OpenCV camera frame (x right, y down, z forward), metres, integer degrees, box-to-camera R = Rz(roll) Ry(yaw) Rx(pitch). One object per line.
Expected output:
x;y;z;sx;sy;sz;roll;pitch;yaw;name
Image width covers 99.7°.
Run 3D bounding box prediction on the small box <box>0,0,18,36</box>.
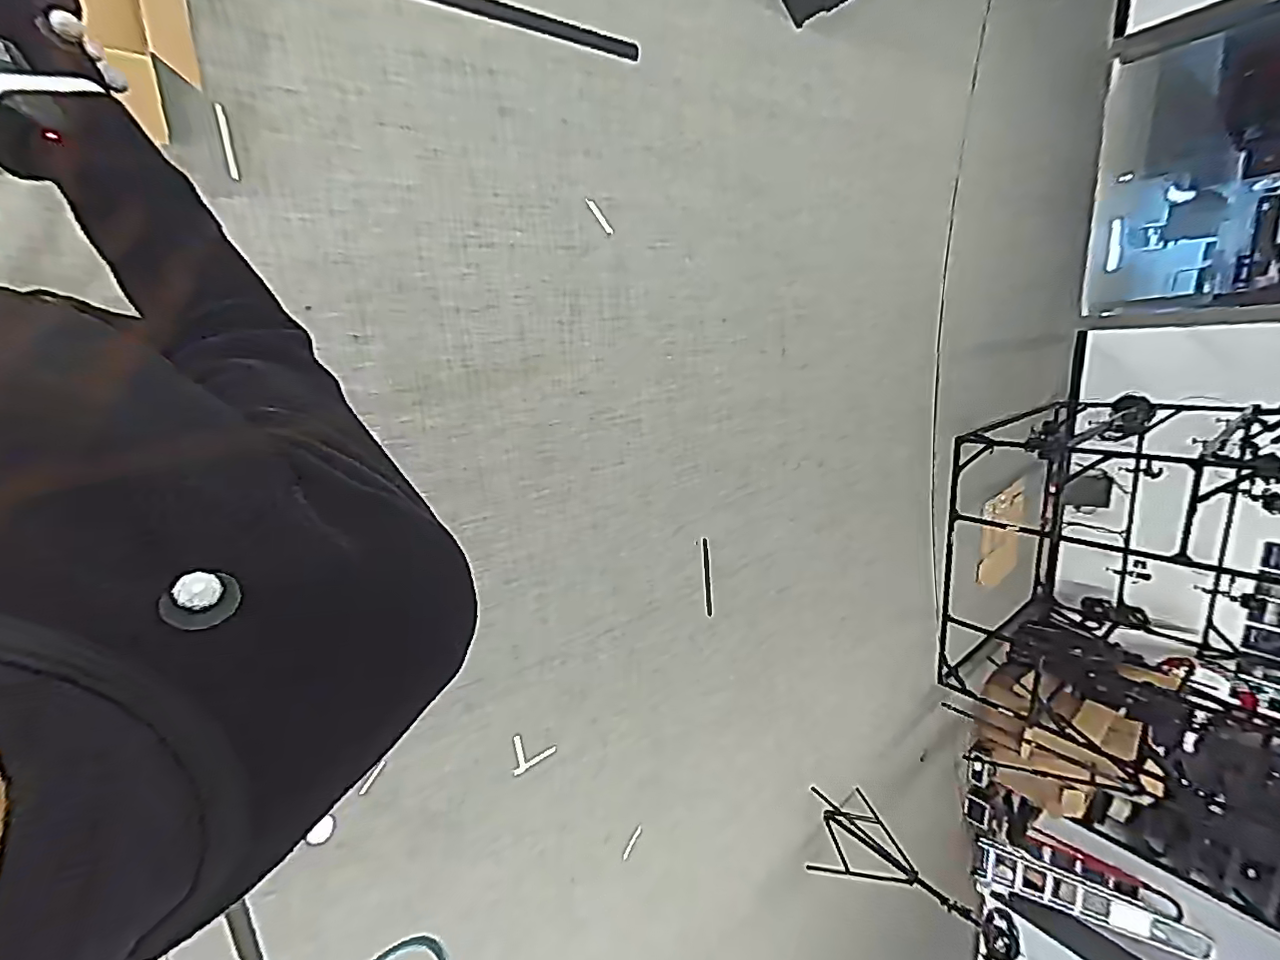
-0.574;-0.439;0.364;0.168;0.176;0.179;-19;121;-40;small box
